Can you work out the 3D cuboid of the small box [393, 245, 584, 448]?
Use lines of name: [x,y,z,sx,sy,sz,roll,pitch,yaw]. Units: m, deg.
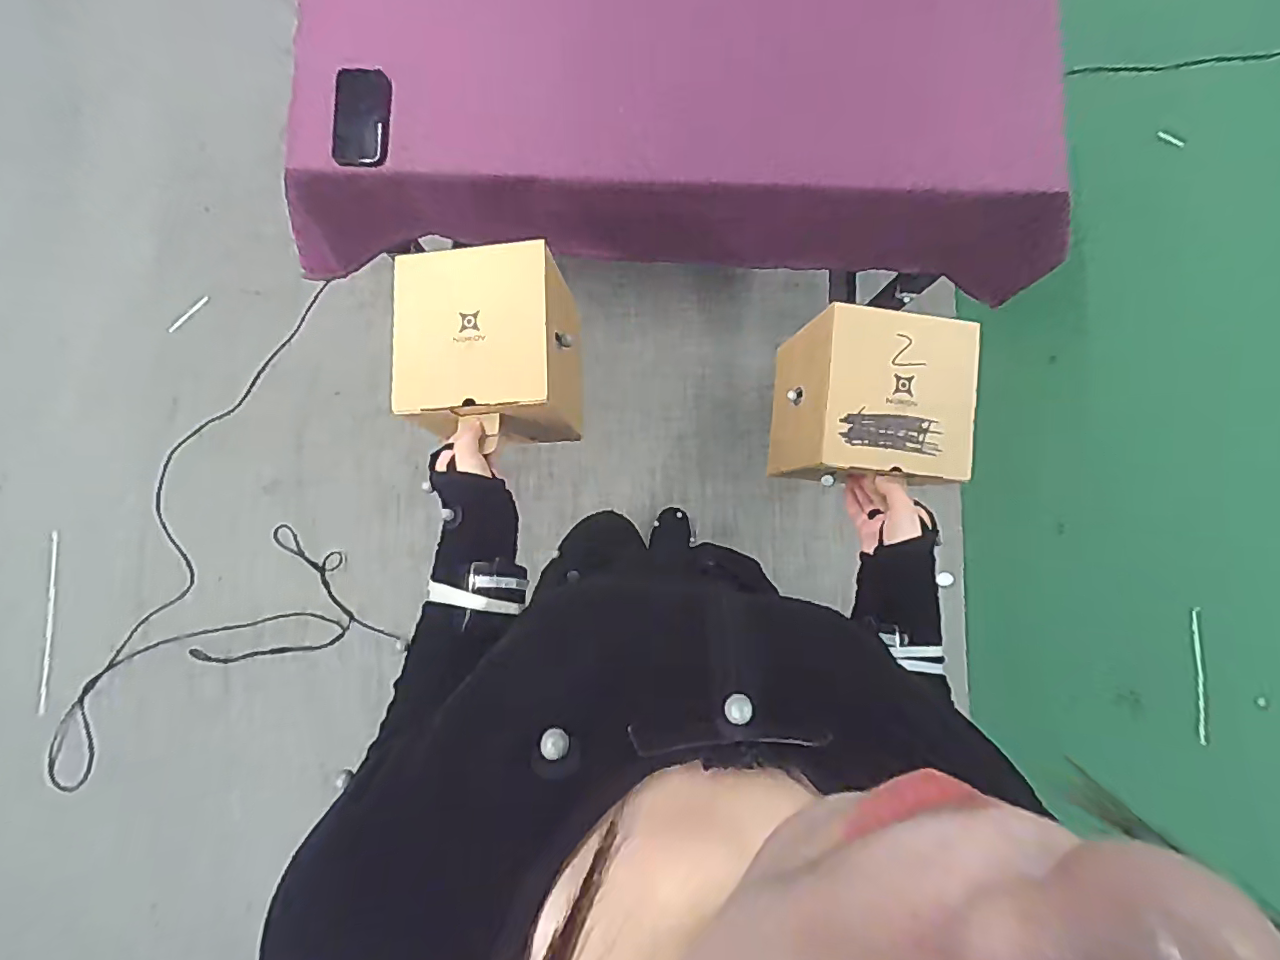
small box: [-0.163,-0.142,0.630,0.168,0.176,0.179,-3,82,5]
